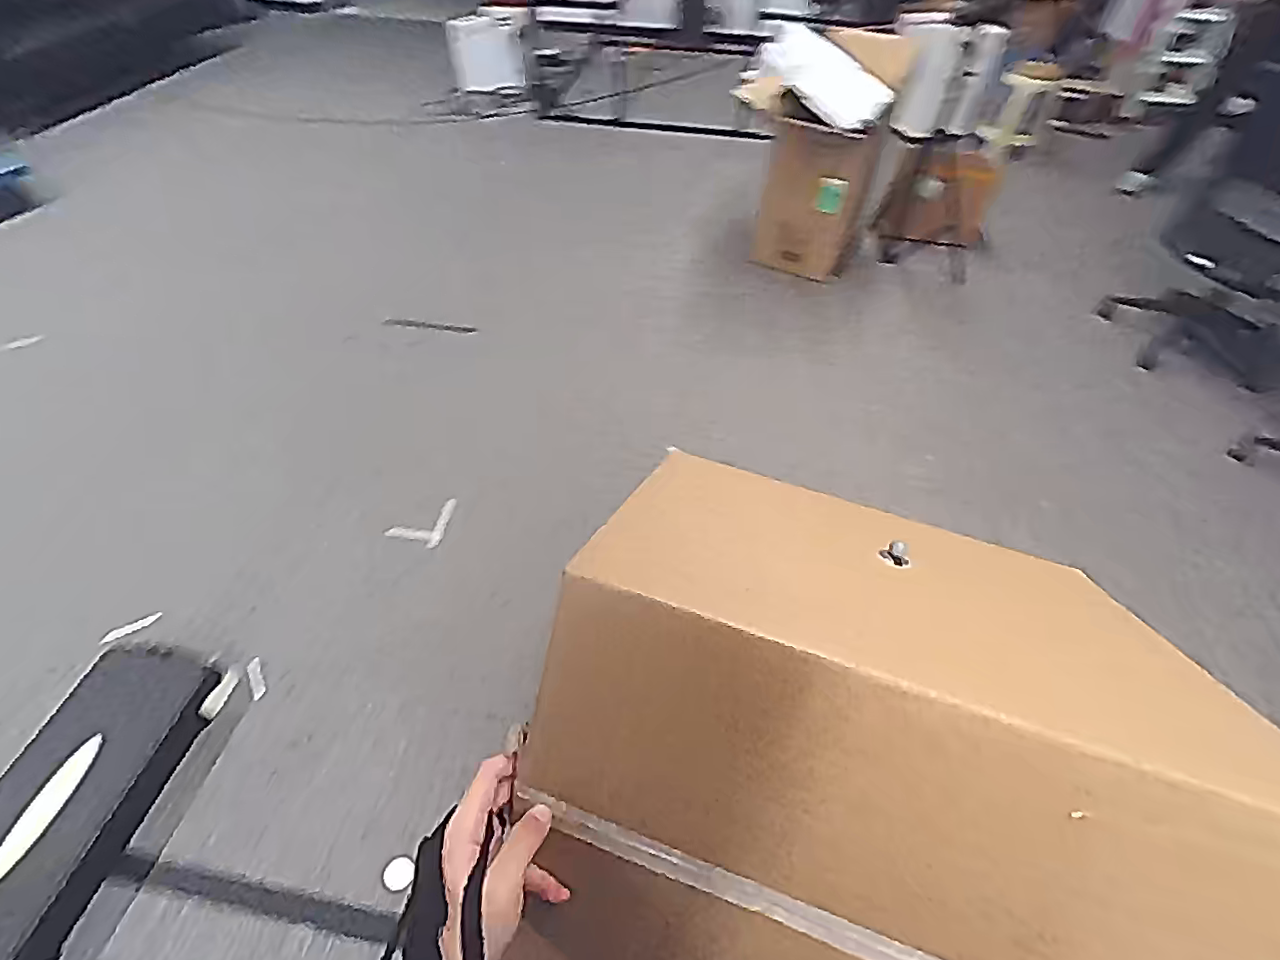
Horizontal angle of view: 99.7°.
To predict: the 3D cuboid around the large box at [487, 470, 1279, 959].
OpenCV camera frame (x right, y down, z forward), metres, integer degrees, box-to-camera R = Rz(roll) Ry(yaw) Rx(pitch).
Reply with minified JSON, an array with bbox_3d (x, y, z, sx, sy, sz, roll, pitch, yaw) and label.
[{"bbox_3d":[0.137,0.210,0.453,0.408,0.320,0.320,15,19,8],"label":"large box"}]
